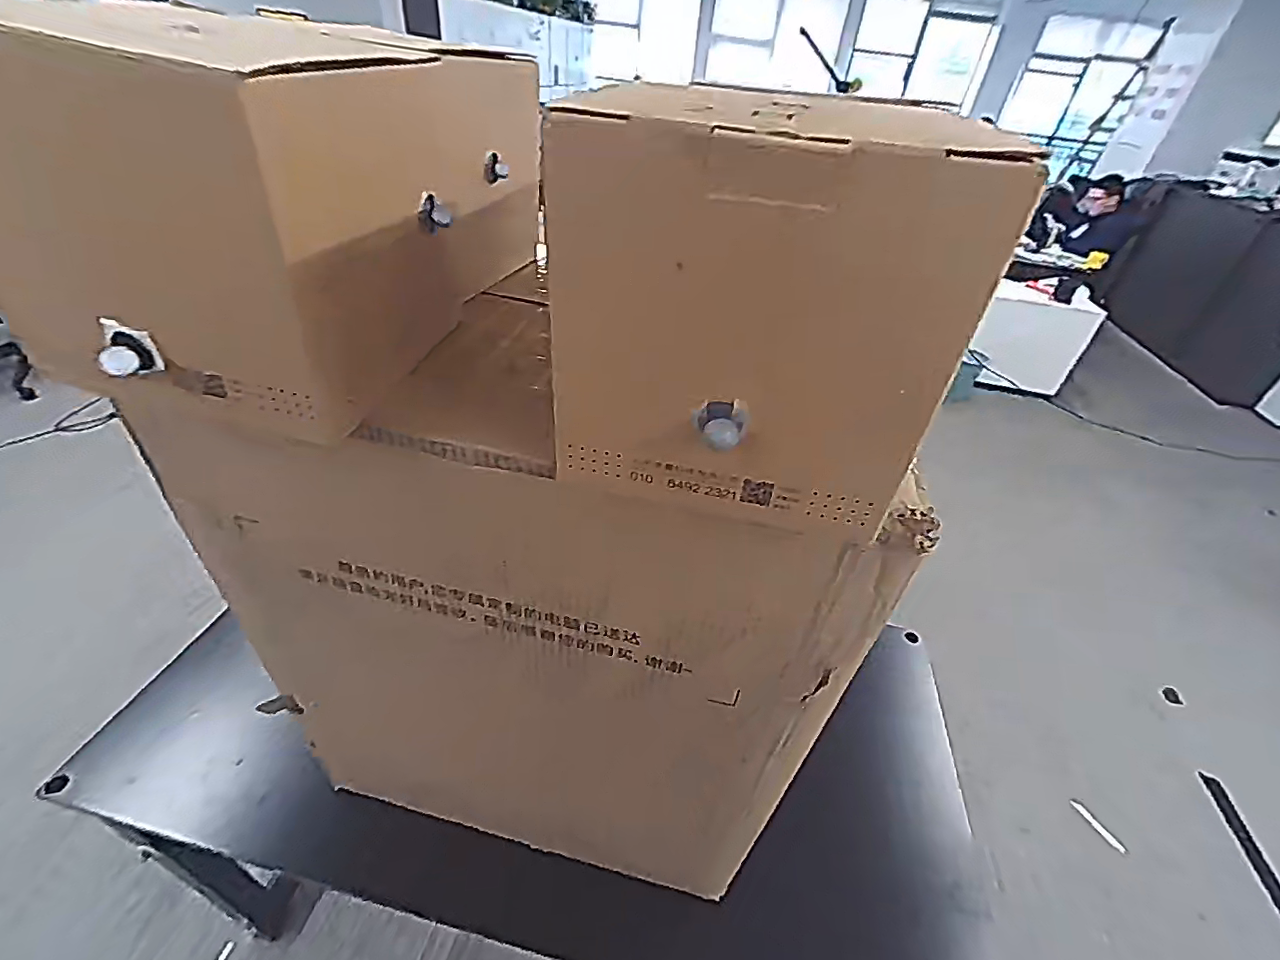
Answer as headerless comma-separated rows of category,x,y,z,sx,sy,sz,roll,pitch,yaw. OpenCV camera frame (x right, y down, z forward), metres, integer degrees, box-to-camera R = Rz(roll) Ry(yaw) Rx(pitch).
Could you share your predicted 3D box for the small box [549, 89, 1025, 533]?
small box,0.058,-0.100,0.297,0.168,0.176,0.179,10,40,8
